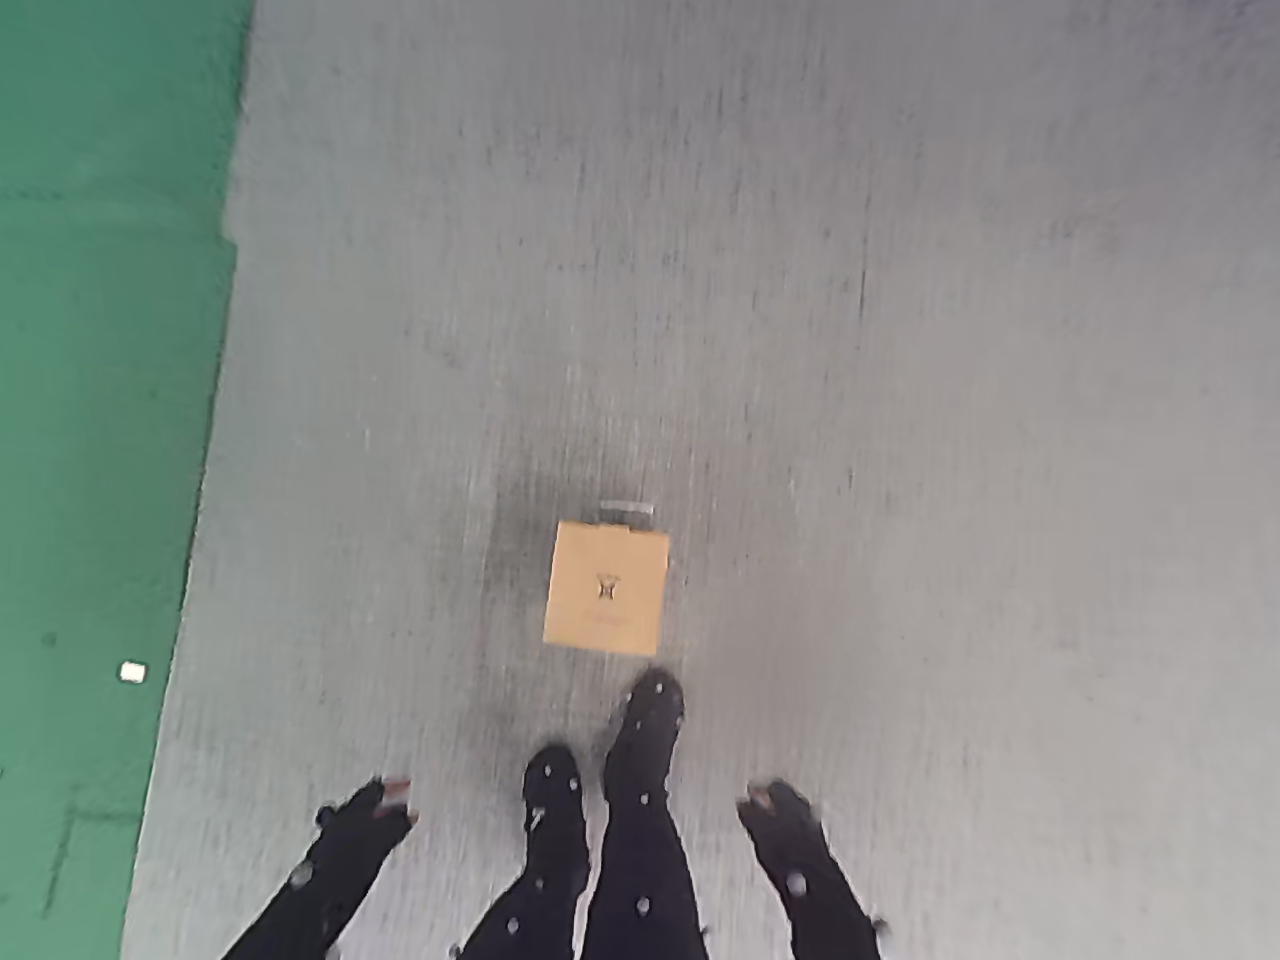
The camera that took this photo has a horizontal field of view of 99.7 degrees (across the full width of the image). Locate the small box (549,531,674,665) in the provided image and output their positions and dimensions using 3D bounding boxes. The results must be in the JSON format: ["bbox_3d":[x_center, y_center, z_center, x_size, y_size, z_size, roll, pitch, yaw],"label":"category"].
[{"bbox_3d":[-0.039,0.178,0.862,0.168,0.176,0.179,6,84,3],"label":"small box"}]
